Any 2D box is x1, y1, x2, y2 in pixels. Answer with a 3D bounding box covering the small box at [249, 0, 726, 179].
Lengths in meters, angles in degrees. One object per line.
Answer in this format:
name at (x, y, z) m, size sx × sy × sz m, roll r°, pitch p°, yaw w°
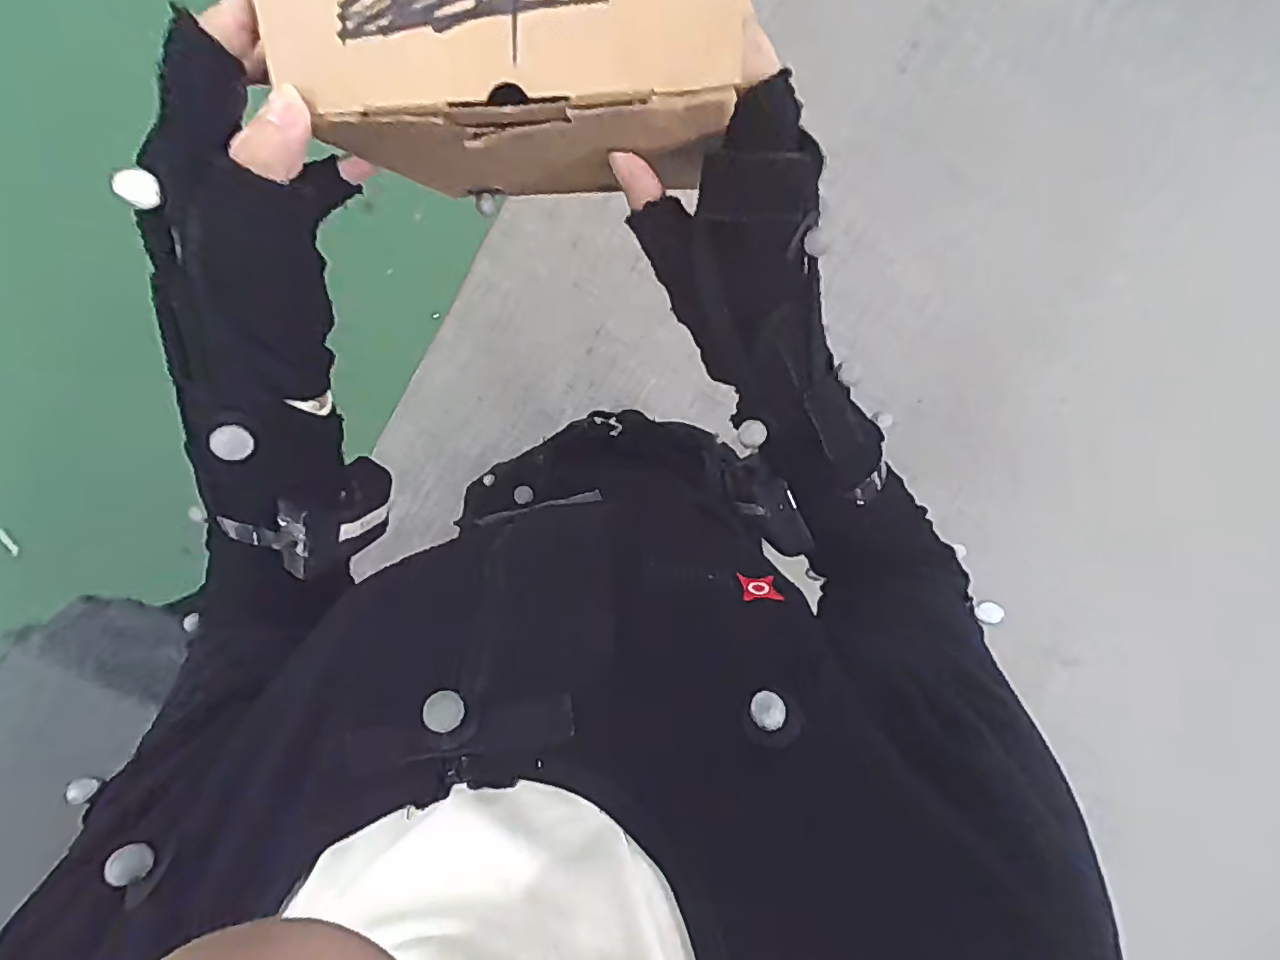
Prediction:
small box at (-0.047, -0.241, 0.236) m, size 0.168 × 0.176 × 0.179 m, roll 0°, pitch 109°, yaw 4°
